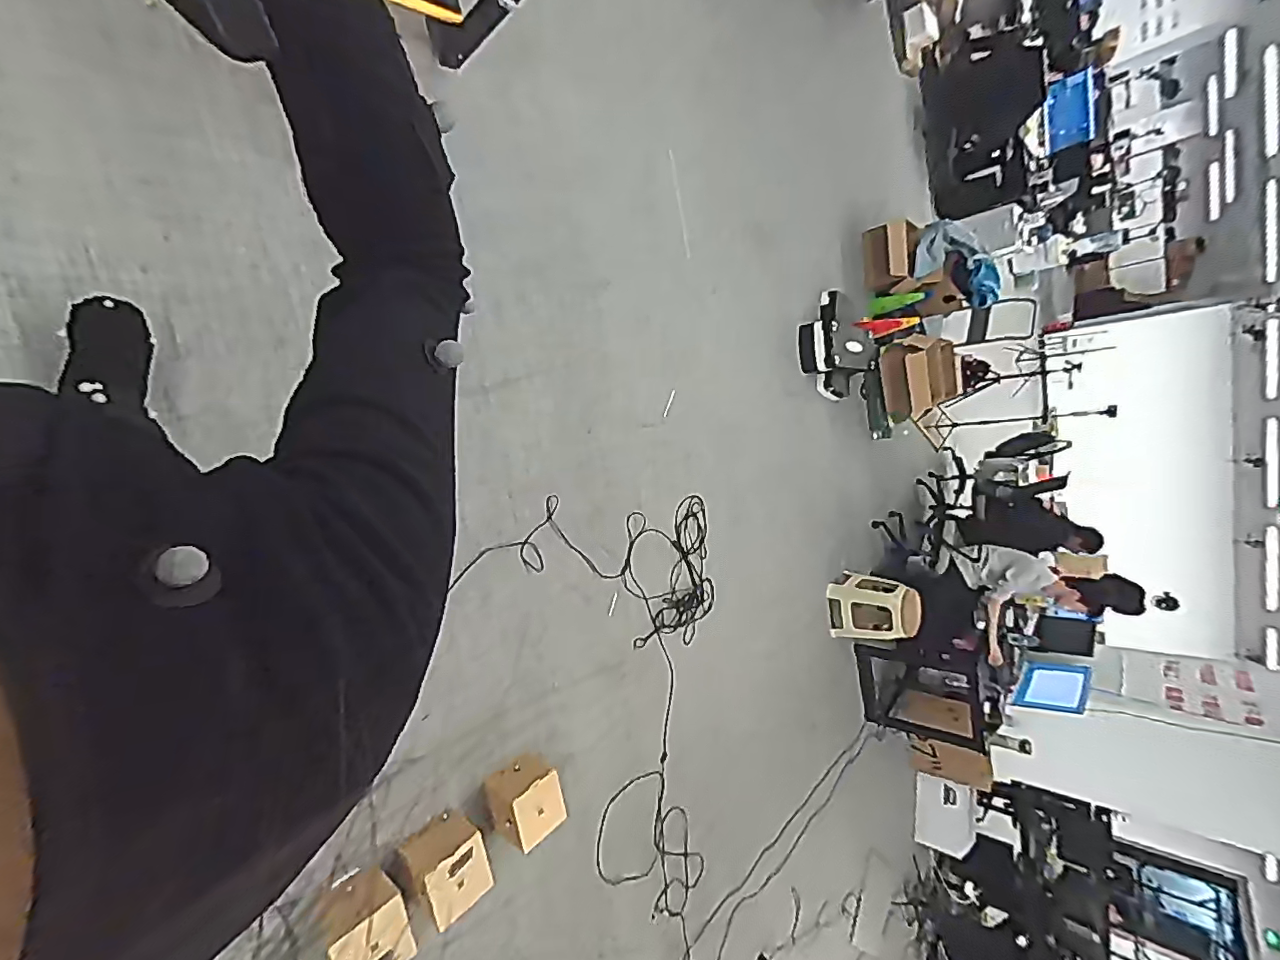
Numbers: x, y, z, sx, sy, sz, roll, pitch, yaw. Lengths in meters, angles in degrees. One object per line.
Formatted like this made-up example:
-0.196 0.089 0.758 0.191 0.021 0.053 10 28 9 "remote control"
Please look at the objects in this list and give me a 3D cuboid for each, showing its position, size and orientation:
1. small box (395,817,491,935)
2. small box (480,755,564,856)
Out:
-0.535 1.050 1.458 0.168 0.176 0.179 -21 104 -46 "small box"
-0.361 0.982 1.649 0.168 0.176 0.179 -20 102 -46 "small box"
